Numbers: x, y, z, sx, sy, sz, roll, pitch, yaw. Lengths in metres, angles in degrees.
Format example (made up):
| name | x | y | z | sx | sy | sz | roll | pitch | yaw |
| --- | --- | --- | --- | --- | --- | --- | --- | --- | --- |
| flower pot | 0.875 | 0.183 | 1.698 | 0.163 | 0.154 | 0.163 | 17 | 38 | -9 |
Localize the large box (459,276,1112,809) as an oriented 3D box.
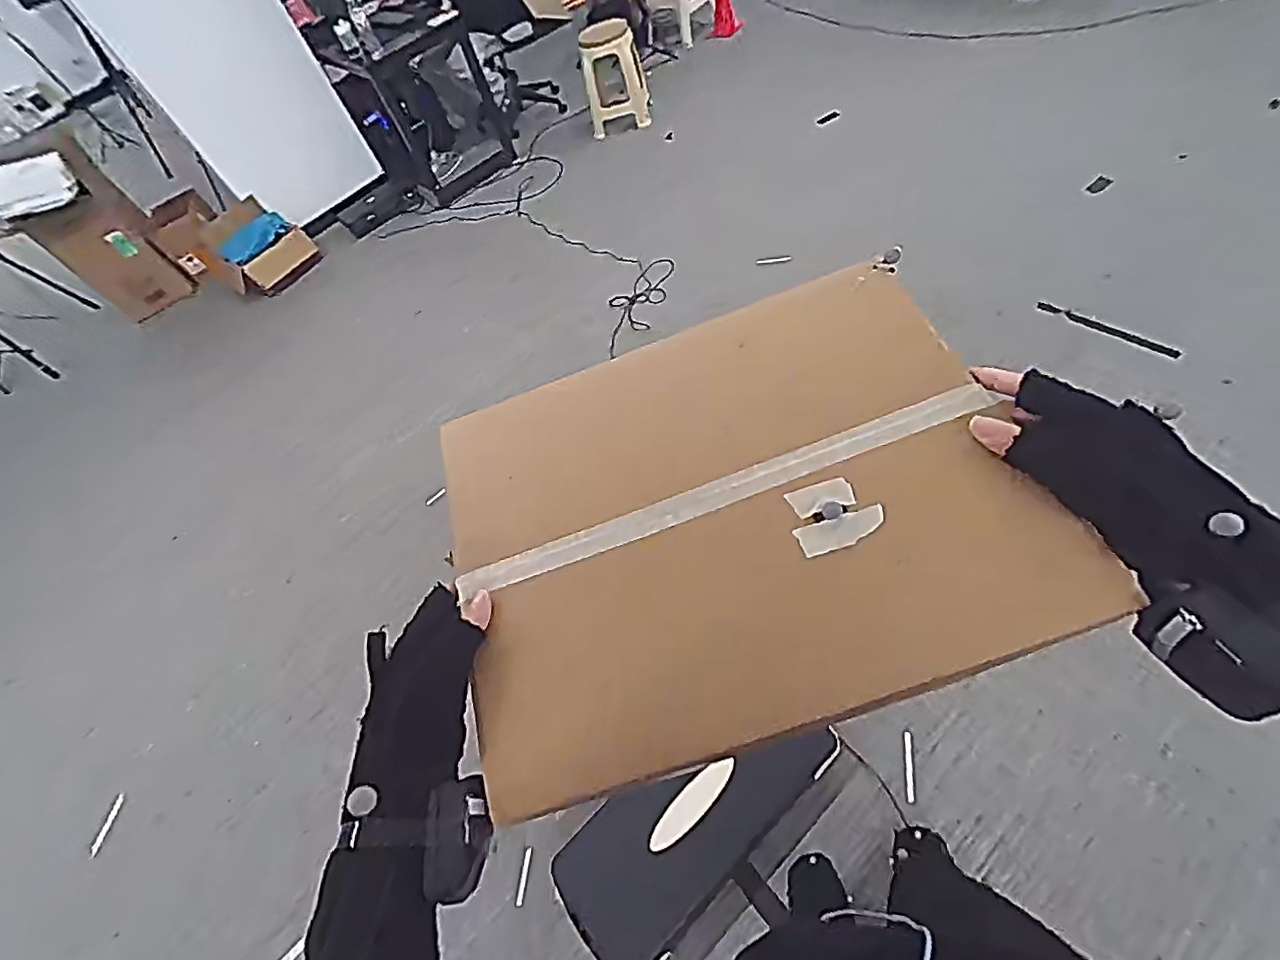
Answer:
| name | x | y | z | sx | sy | sz | roll | pitch | yaw |
| --- | --- | --- | --- | --- | --- | --- | --- | --- | --- |
| large box | 0.092 | 0.082 | 0.537 | 0.408 | 0.320 | 0.320 | -21 | 61 | 3 |
